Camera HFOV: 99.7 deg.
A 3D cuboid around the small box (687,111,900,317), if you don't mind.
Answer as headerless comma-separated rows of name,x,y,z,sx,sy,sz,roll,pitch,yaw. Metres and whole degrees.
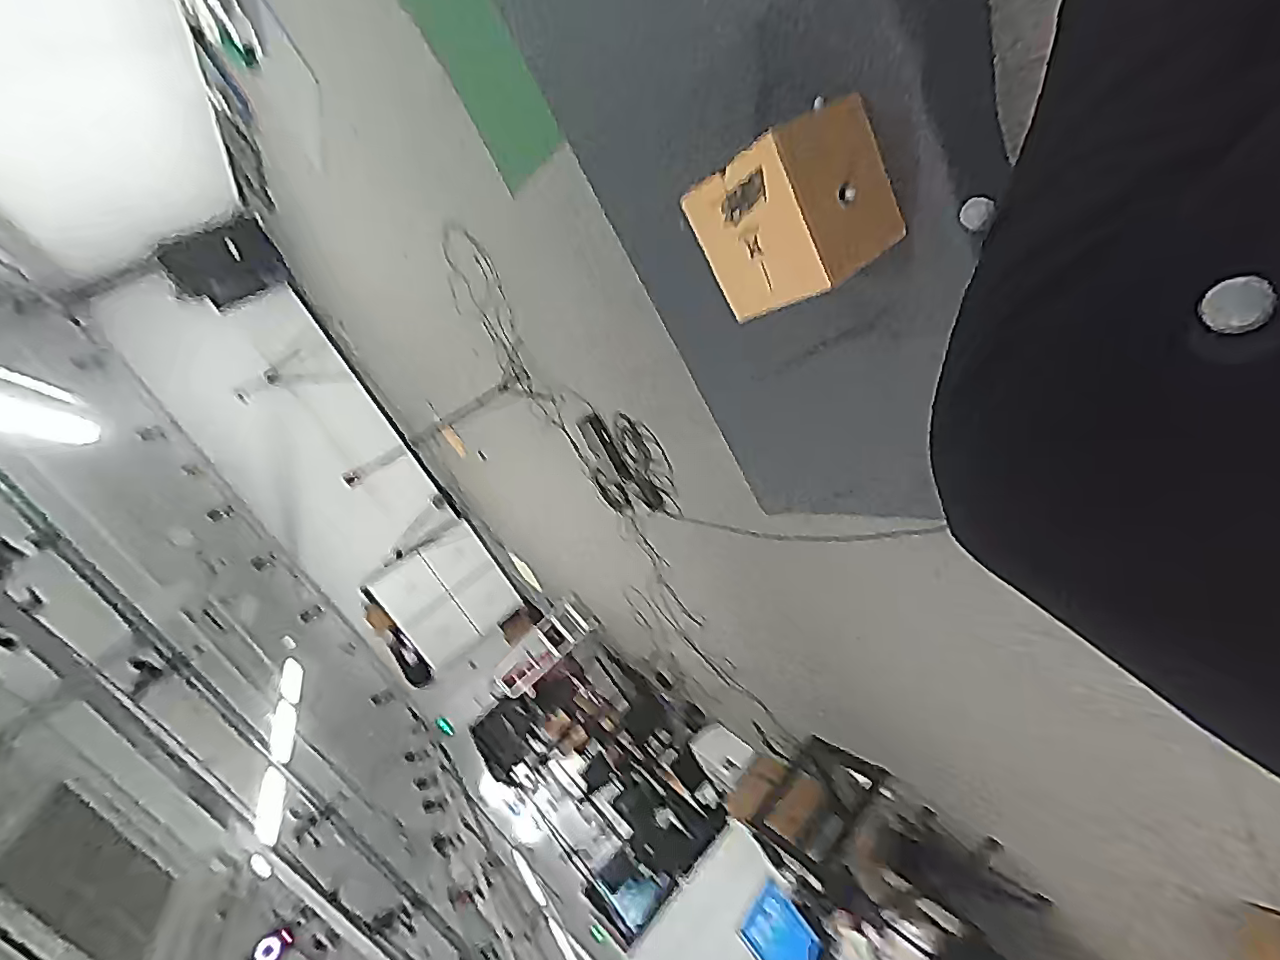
small box,0.198,-0.338,0.695,0.168,0.176,0.179,8,131,60
